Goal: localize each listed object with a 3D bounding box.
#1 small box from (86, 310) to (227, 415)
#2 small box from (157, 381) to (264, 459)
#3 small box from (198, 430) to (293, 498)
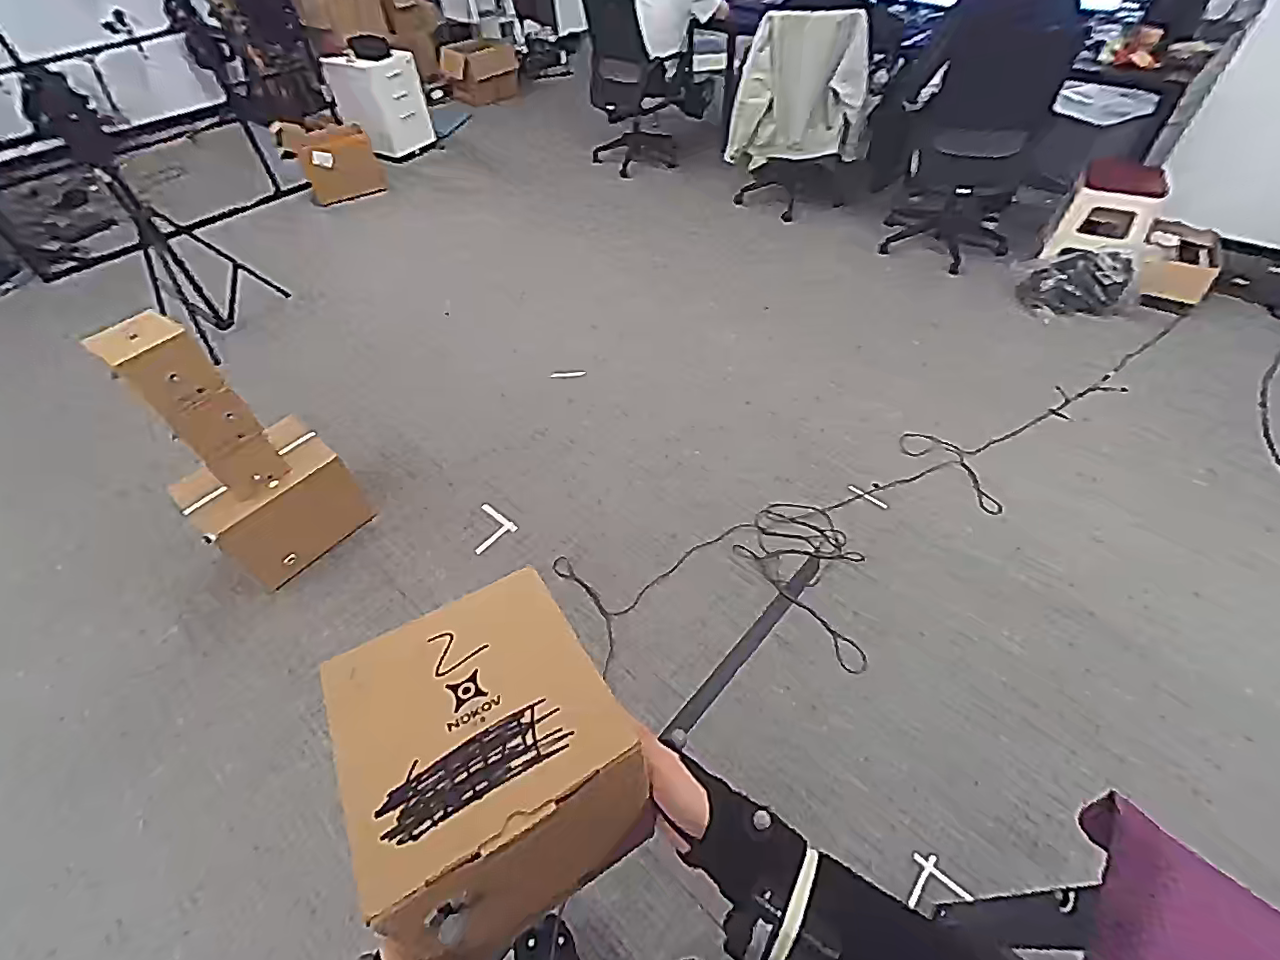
[{"bbox_3d":[-1.187,-0.287,1.342,0.179,0.176,0.168,26,55,22],"label":"small box"},{"bbox_3d":[-1.175,-0.182,1.469,0.179,0.176,0.168,29,56,25],"label":"small box"},{"bbox_3d":[-1.176,-0.077,1.593,0.179,0.176,0.168,31,58,25],"label":"small box"}]
